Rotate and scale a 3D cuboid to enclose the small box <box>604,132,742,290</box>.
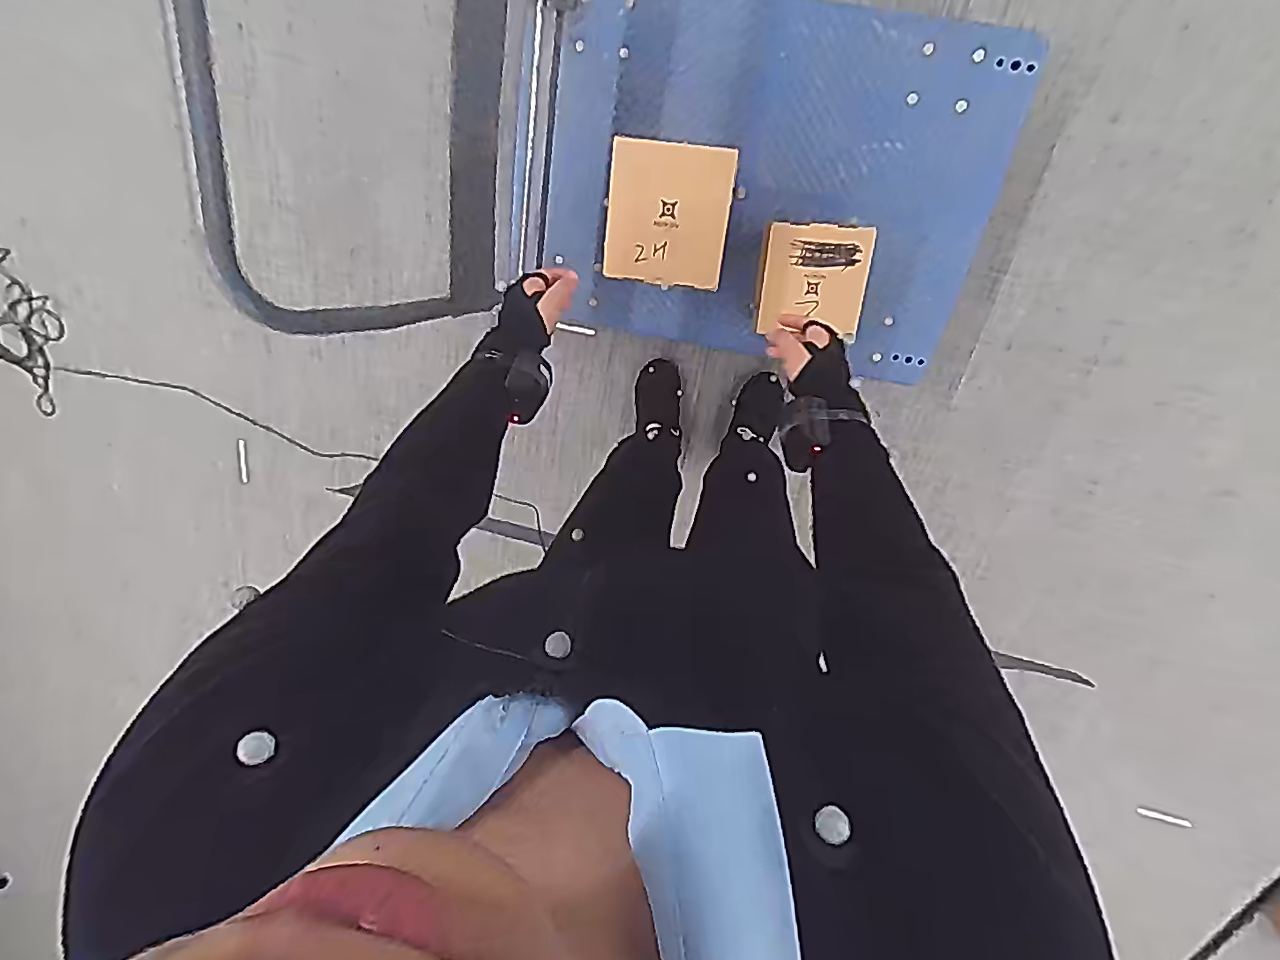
[{"bbox_3d":[0.050,-0.387,0.798,0.168,0.176,0.179,9,114,5],"label":"small box"}]
